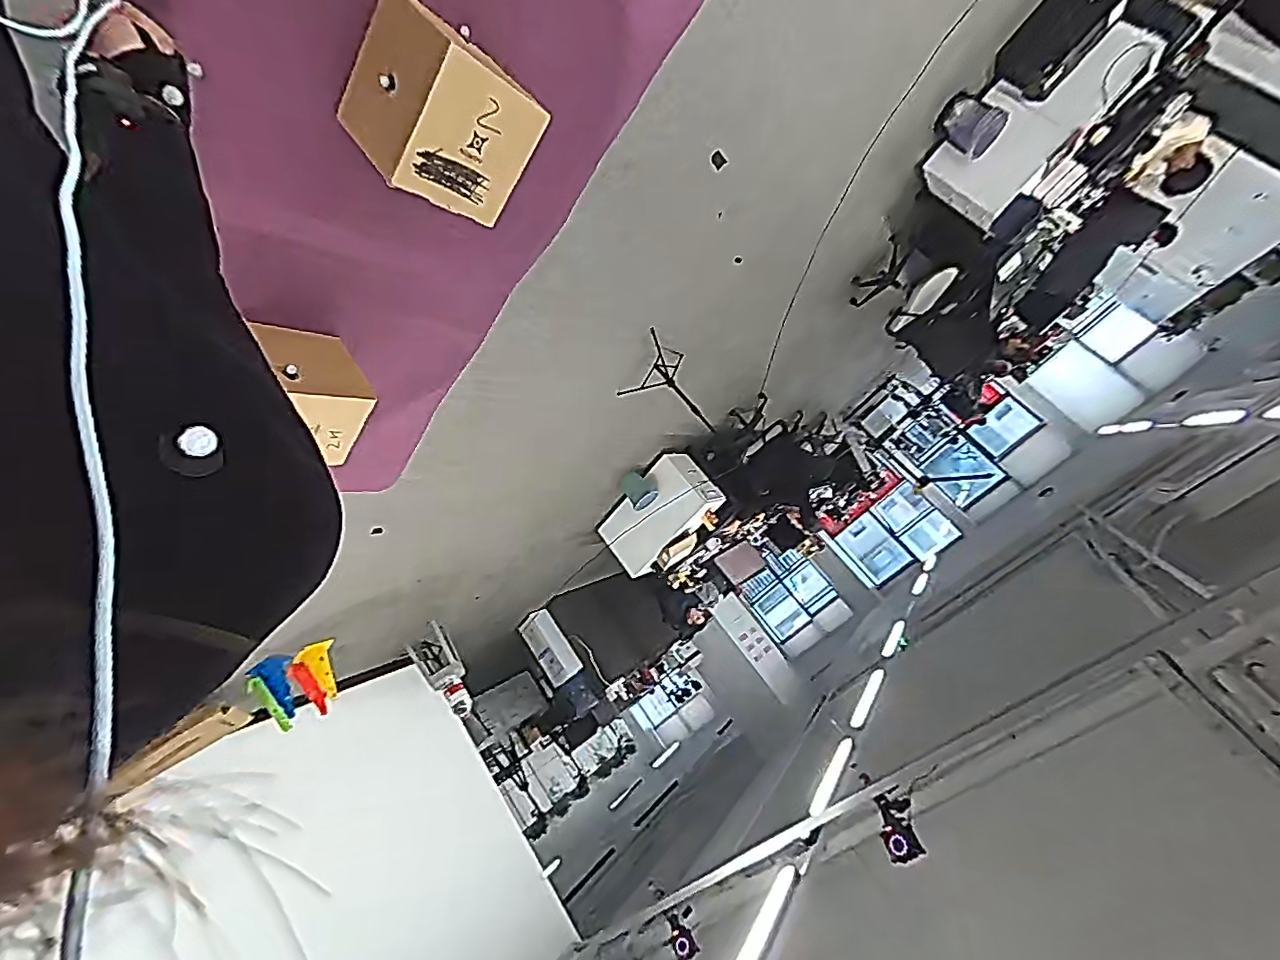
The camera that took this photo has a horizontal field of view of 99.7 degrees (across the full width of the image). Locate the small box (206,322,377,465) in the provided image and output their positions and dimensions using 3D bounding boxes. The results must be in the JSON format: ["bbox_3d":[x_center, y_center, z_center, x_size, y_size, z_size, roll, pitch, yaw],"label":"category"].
[{"bbox_3d":[-0.596,-0.143,0.919,0.168,0.176,0.179,-48,159,25],"label":"small box"}]
